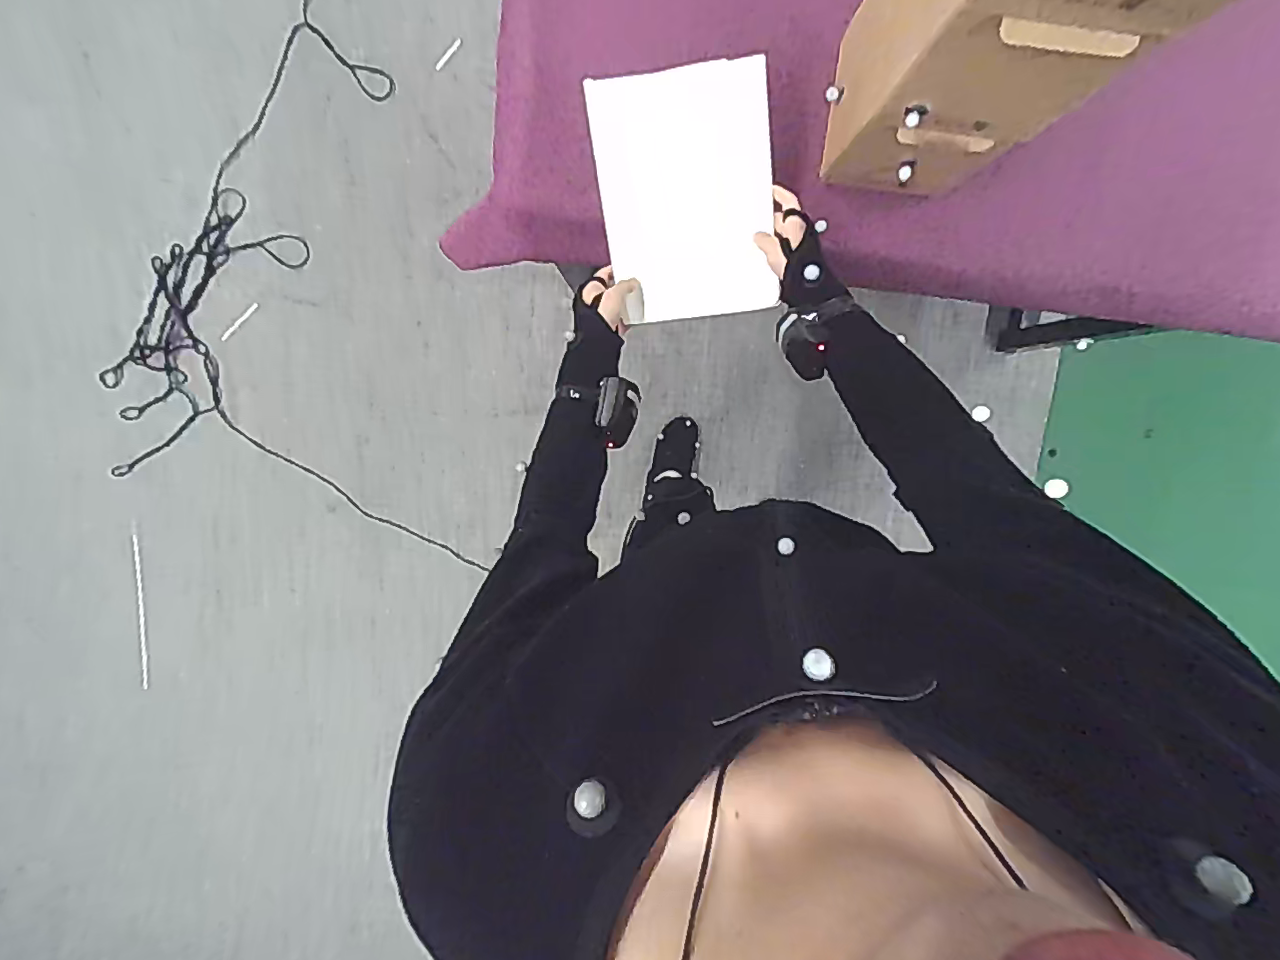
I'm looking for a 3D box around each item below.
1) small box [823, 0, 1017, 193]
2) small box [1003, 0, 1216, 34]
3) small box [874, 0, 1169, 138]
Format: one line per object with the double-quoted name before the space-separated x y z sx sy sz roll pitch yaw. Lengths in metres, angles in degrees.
"small box" 0.327 -0.459 0.629 0.168 0.176 0.179 7 98 -1
"small box" 0.322 -0.405 0.305 0.168 0.176 0.179 8 97 -1
"small box" 0.324 -0.431 0.466 0.168 0.176 0.179 7 97 0
